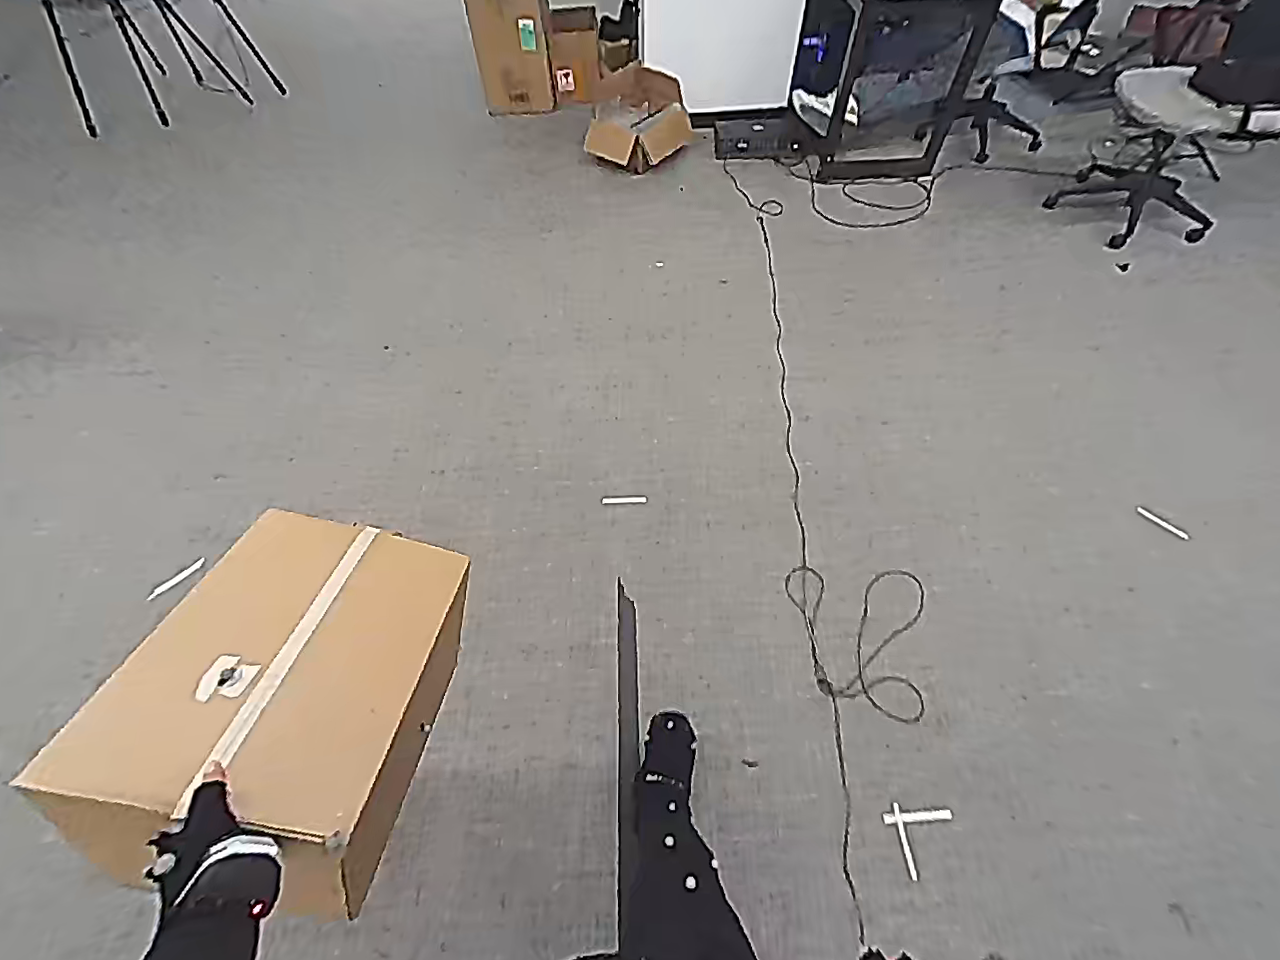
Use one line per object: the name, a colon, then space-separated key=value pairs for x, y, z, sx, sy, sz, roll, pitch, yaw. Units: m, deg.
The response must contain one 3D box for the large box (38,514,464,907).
large box: x=-0.482 y=0.323 z=0.794 sx=0.320 sy=0.320 sz=0.408 roll=15 pitch=38 yaw=-7
